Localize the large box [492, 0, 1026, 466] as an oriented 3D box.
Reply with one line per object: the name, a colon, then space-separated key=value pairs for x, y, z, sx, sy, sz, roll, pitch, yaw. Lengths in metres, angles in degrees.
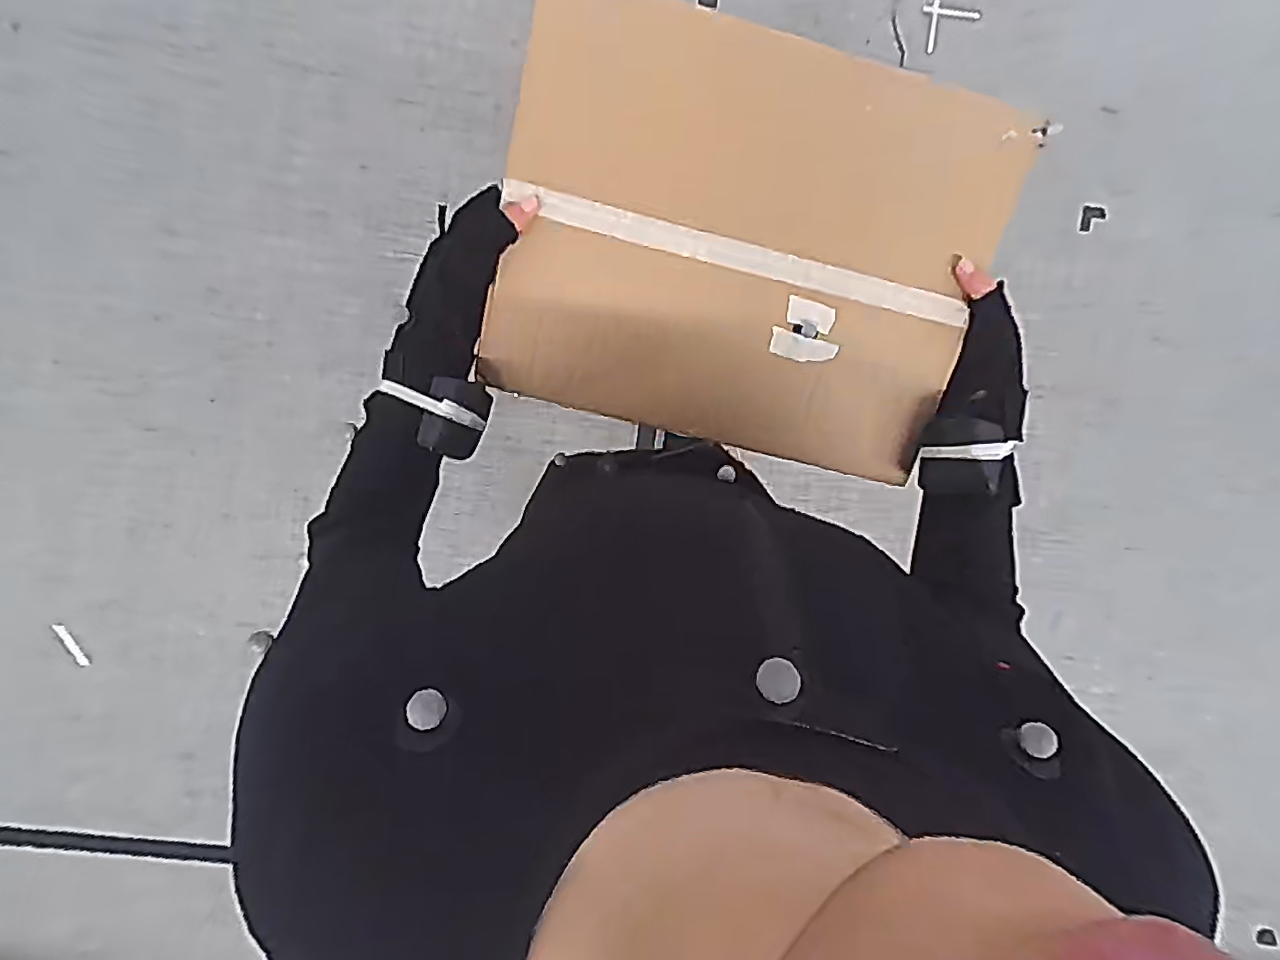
large box: x=0.086 y=-0.238 z=0.608 sx=0.408 sy=0.320 sz=0.320 roll=13 pitch=107 yaw=-6
